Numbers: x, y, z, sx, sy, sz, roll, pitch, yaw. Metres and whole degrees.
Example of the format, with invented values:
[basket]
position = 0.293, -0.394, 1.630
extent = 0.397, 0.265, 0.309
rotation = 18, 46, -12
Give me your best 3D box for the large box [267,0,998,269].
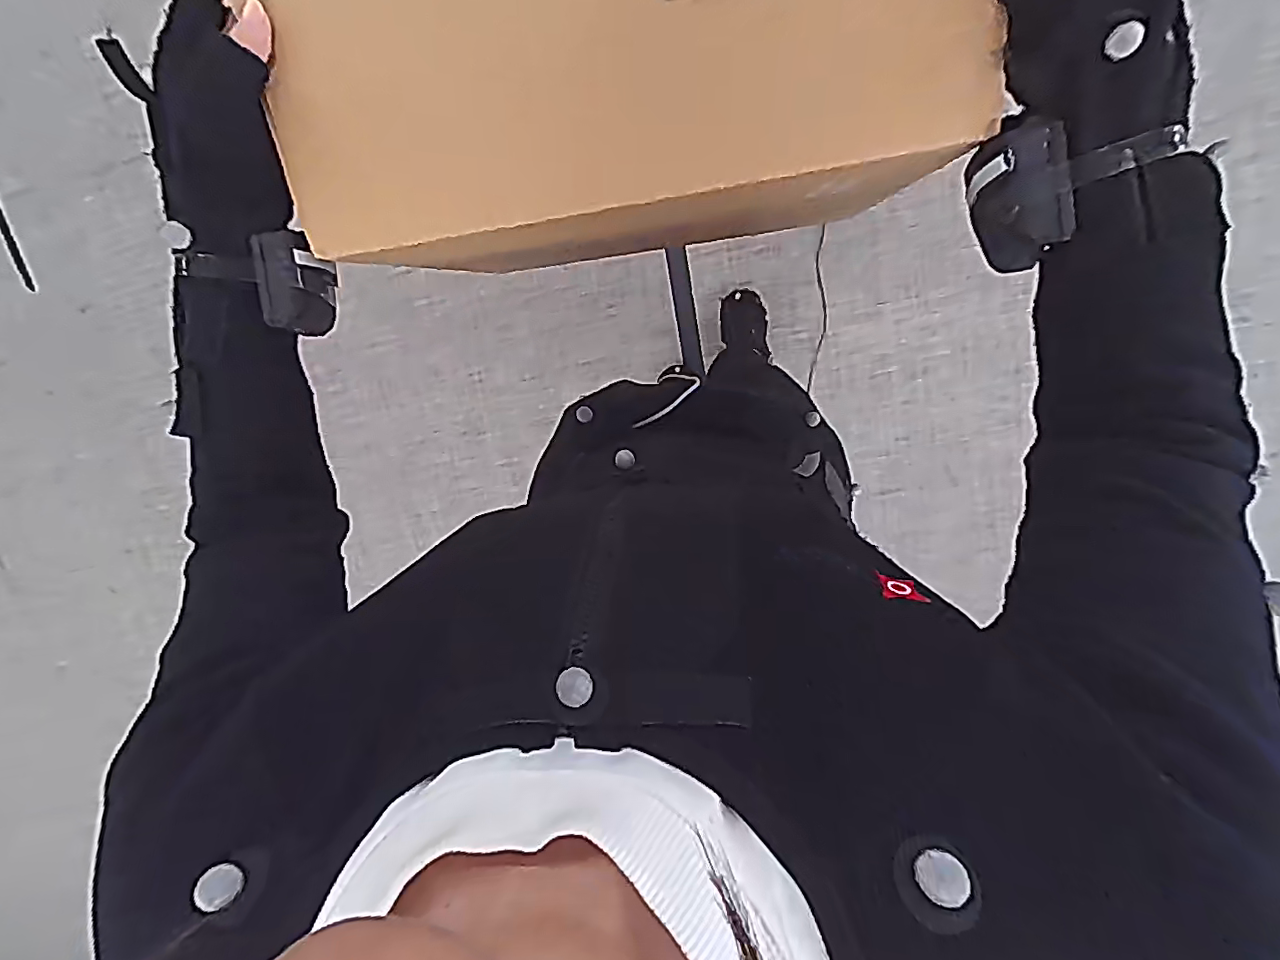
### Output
[large box]
position = -0.009, -0.366, 0.420
extent = 0.408, 0.320, 0.320
rotation = -6, 109, 9
